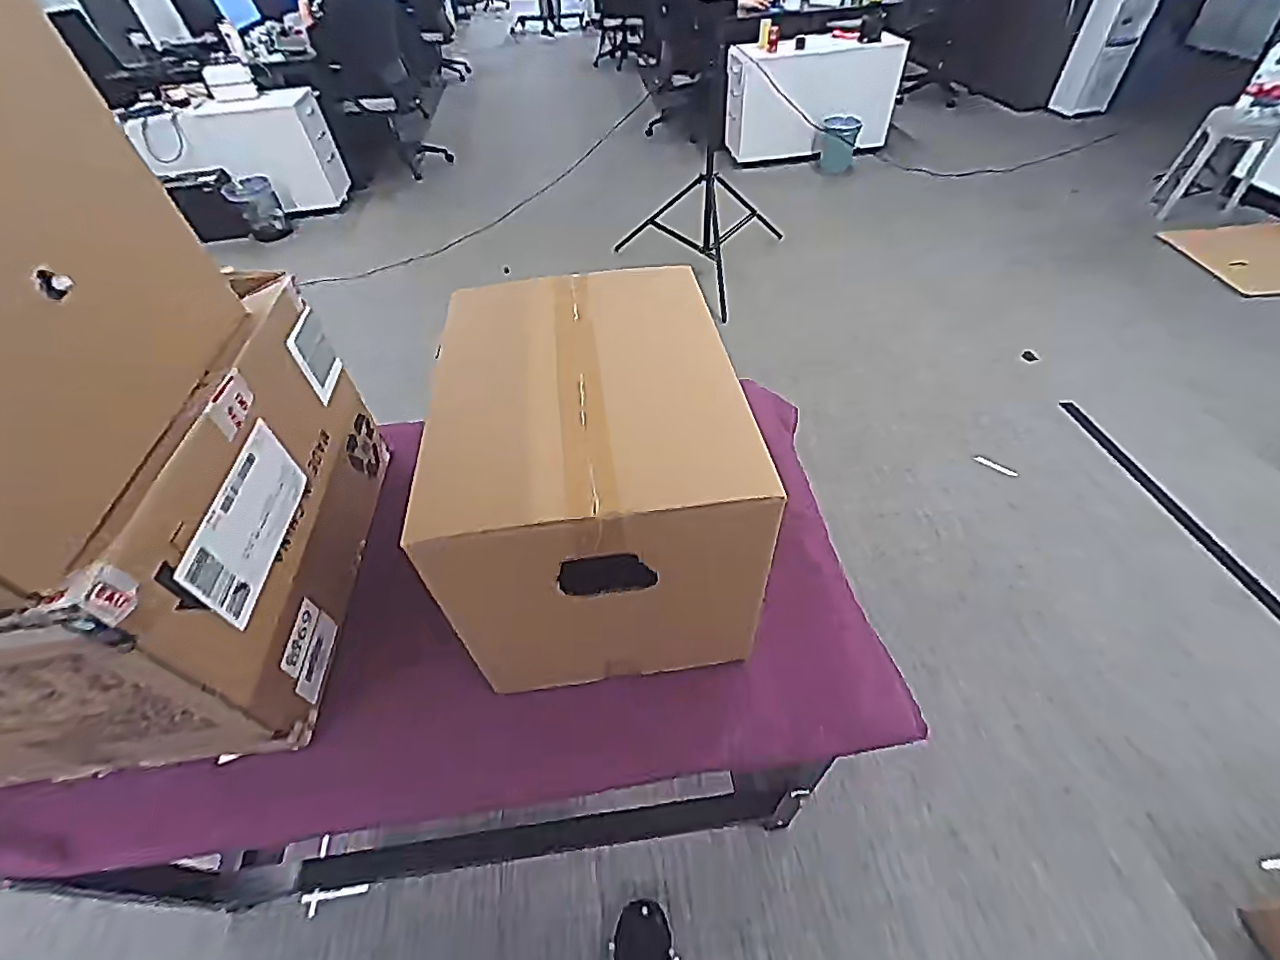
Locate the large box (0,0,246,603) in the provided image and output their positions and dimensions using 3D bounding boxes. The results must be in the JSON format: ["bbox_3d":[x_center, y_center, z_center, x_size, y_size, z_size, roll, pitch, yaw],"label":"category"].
[{"bbox_3d":[-0.605,-0.138,0.417,0.320,0.320,0.408,-9,48,-2],"label":"large box"}]
